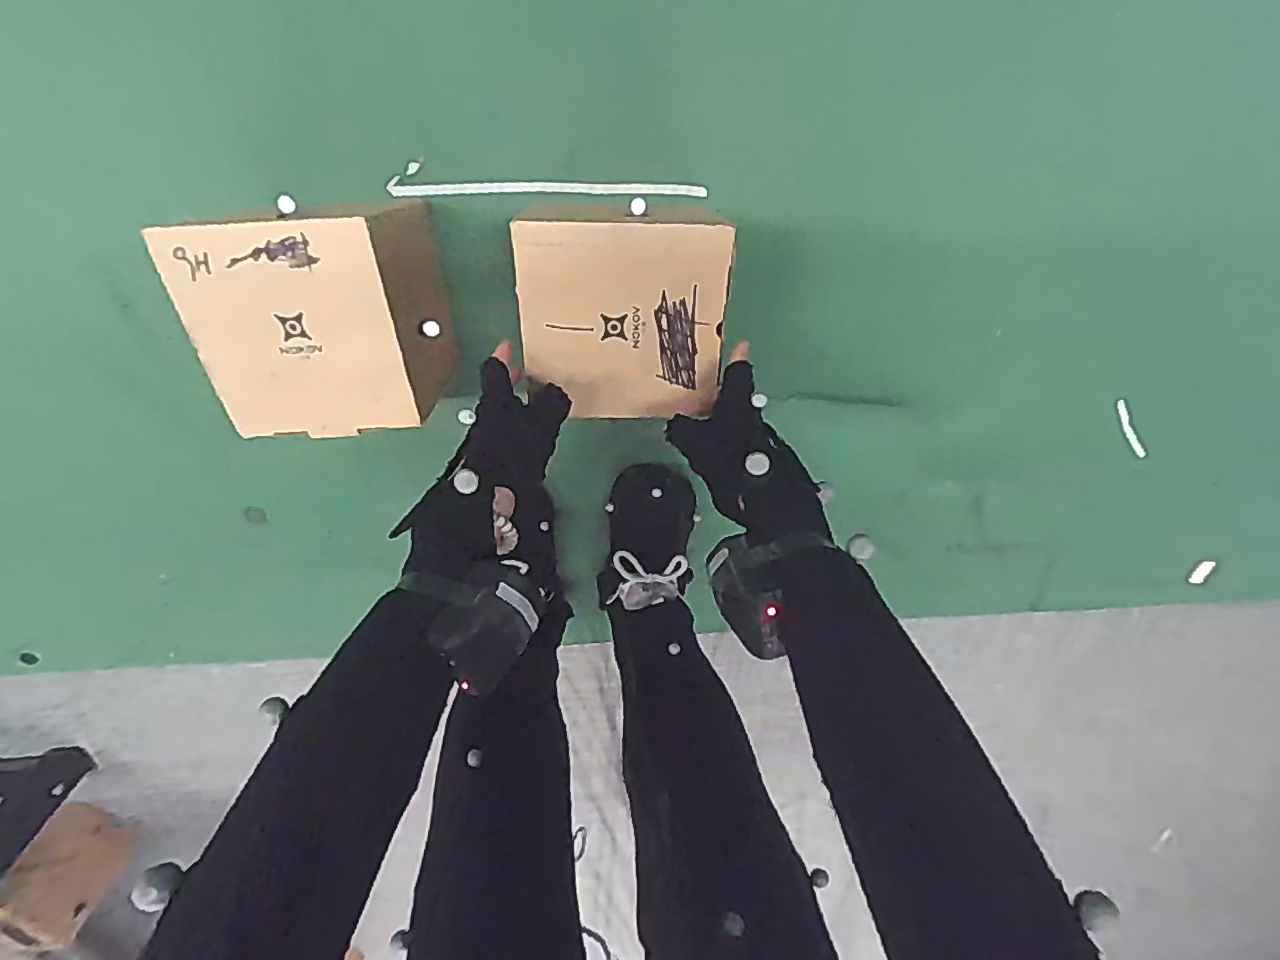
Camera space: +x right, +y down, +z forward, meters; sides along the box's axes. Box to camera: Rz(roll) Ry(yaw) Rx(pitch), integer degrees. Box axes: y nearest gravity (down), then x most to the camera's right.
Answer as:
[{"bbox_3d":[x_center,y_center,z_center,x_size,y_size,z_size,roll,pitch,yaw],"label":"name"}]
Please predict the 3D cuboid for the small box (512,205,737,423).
[{"bbox_3d":[-0.018,-0.165,0.519,0.179,0.176,0.168,-1,122,-3],"label":"small box"}]
